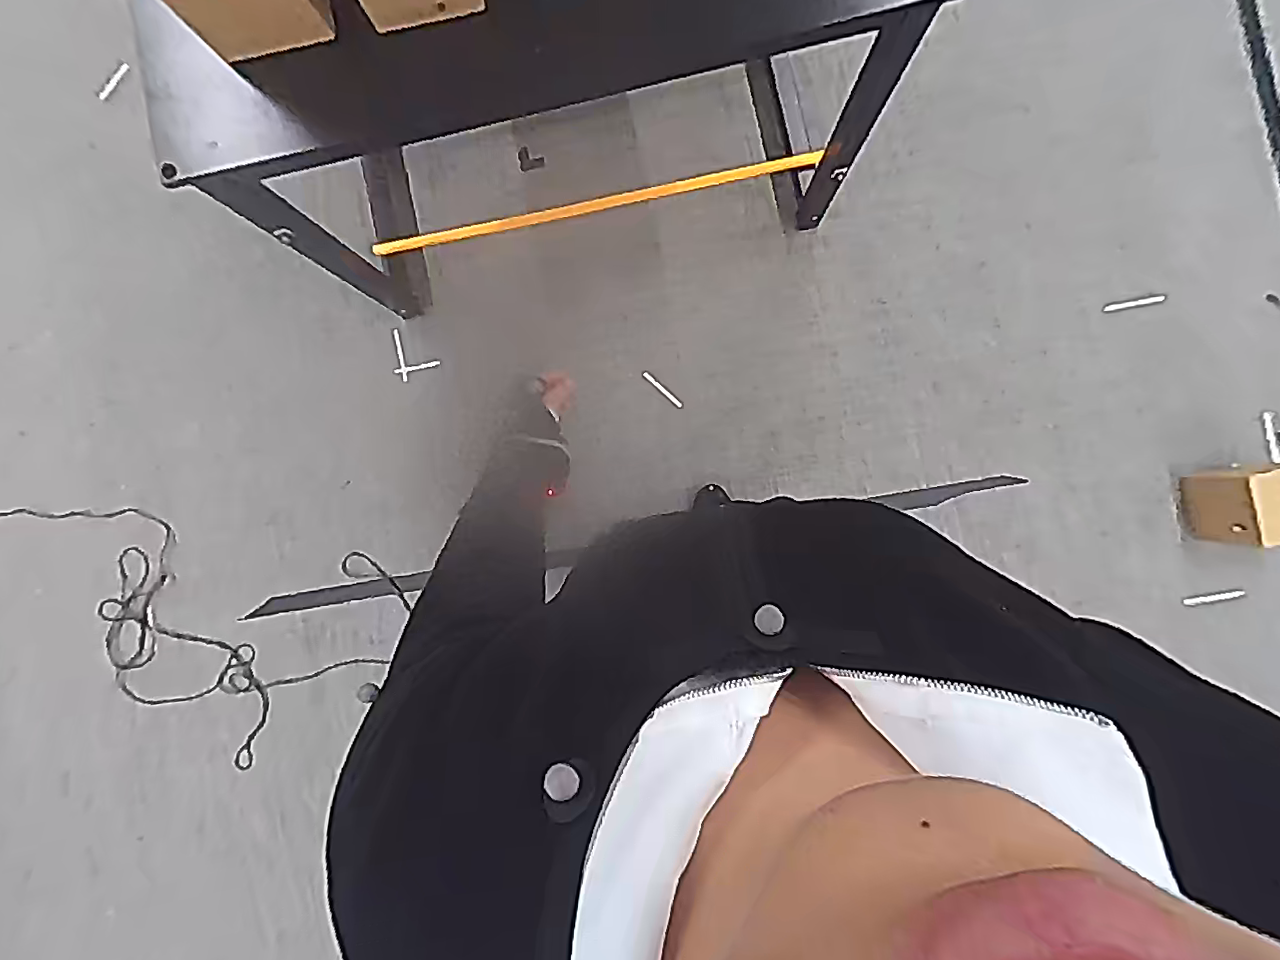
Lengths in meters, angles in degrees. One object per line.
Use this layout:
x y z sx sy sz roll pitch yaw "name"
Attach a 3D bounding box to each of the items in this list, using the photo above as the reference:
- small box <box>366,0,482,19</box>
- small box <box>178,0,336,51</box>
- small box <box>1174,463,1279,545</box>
-0.322 -0.764 0.718 0.168 0.176 0.179 -11 89 2 "small box"
-0.551 -0.728 0.728 0.179 0.176 0.168 -11 89 2 "small box"
1.508 0.054 1.354 0.168 0.176 0.179 -12 90 3 "small box"
